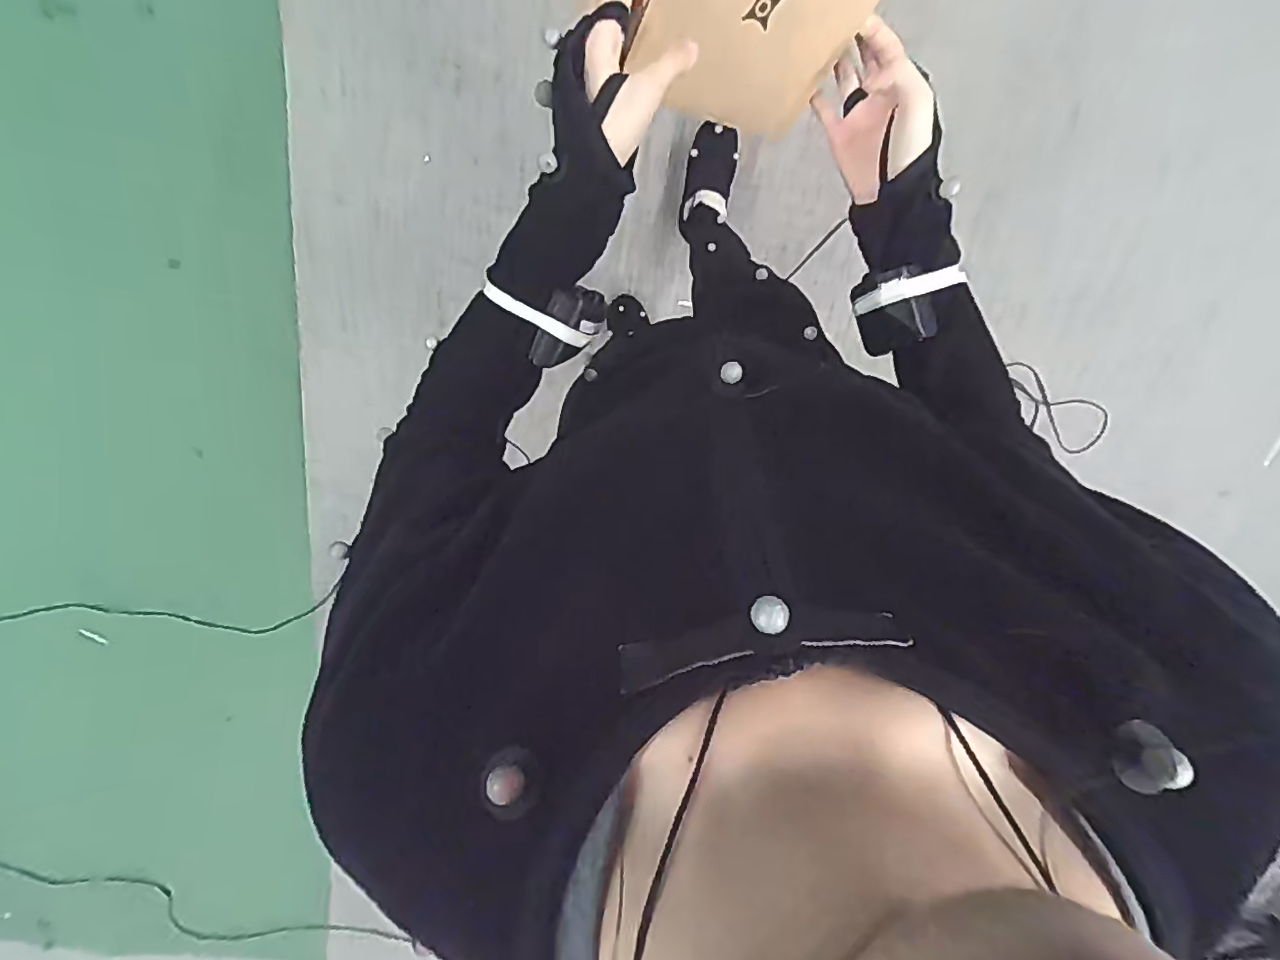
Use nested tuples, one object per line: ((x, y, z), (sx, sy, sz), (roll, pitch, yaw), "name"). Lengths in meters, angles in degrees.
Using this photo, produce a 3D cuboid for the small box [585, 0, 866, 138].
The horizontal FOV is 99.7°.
((0.062, -0.407, 0.397), (0.168, 0.176, 0.179), (-3, 157, -29), "small box")
